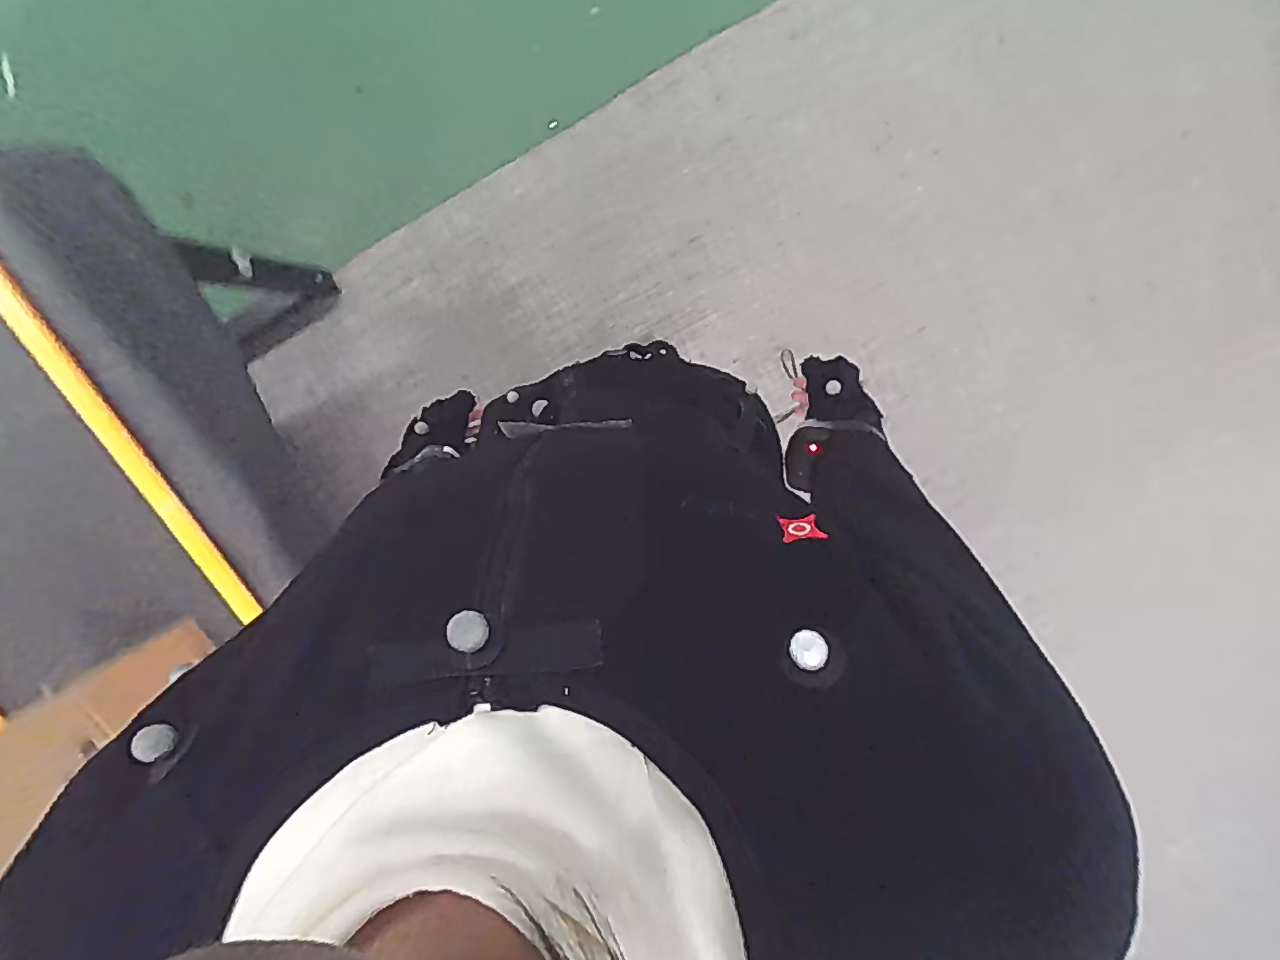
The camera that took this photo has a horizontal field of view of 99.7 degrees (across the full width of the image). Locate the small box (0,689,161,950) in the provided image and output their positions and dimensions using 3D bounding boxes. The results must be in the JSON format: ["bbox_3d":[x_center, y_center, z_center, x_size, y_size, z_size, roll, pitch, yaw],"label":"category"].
[{"bbox_3d":[-0.658,0.349,0.543,0.179,0.176,0.168,-25,104,7],"label":"small box"}]

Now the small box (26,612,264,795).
[{"bbox_3d":[-0.651,0.306,0.702,0.179,0.176,0.168,-29,103,7],"label":"small box"}]
